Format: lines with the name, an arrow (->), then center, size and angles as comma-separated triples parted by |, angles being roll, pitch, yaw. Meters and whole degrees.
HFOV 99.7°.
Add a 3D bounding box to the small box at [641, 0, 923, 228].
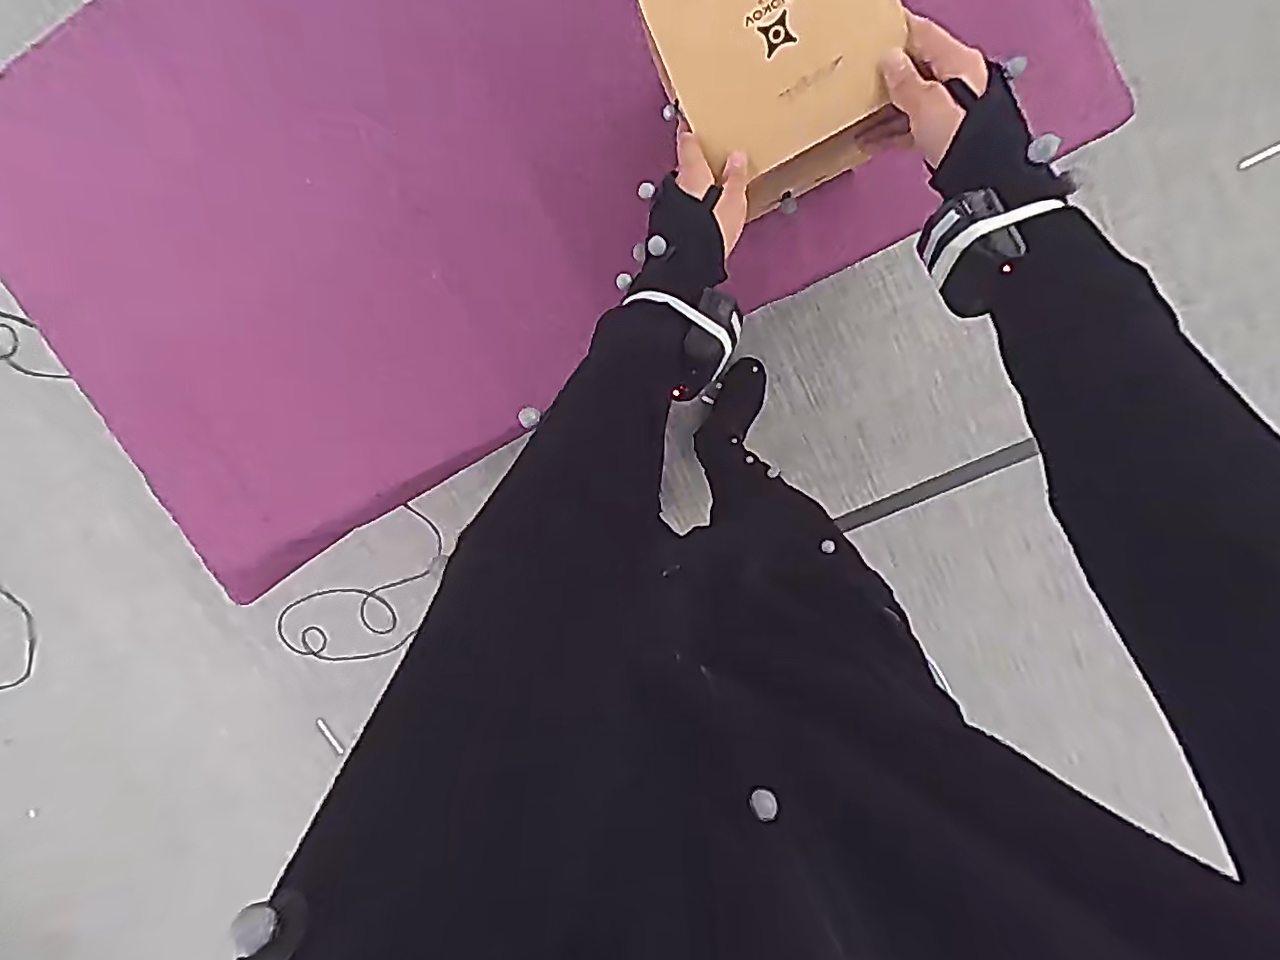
small box -> 0.112, -0.353, 0.473 | 0.168, 0.176, 0.179 | -22, 100, 16
